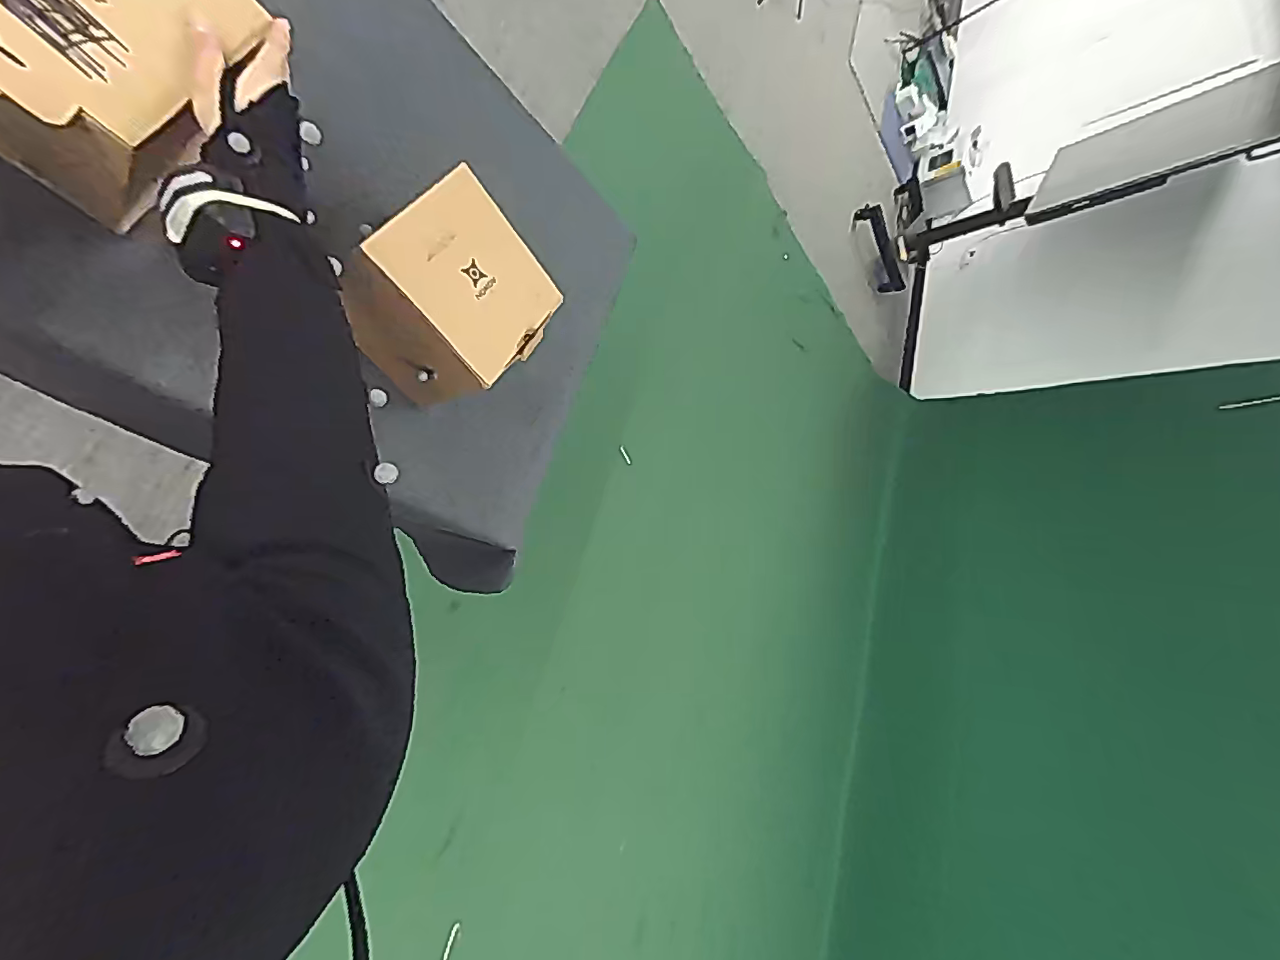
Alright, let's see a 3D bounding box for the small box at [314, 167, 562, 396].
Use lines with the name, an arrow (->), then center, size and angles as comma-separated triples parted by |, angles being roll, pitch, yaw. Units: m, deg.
small box -> -0.233, -0.215, 0.634 | 0.179, 0.176, 0.168 | 51, 54, -32
